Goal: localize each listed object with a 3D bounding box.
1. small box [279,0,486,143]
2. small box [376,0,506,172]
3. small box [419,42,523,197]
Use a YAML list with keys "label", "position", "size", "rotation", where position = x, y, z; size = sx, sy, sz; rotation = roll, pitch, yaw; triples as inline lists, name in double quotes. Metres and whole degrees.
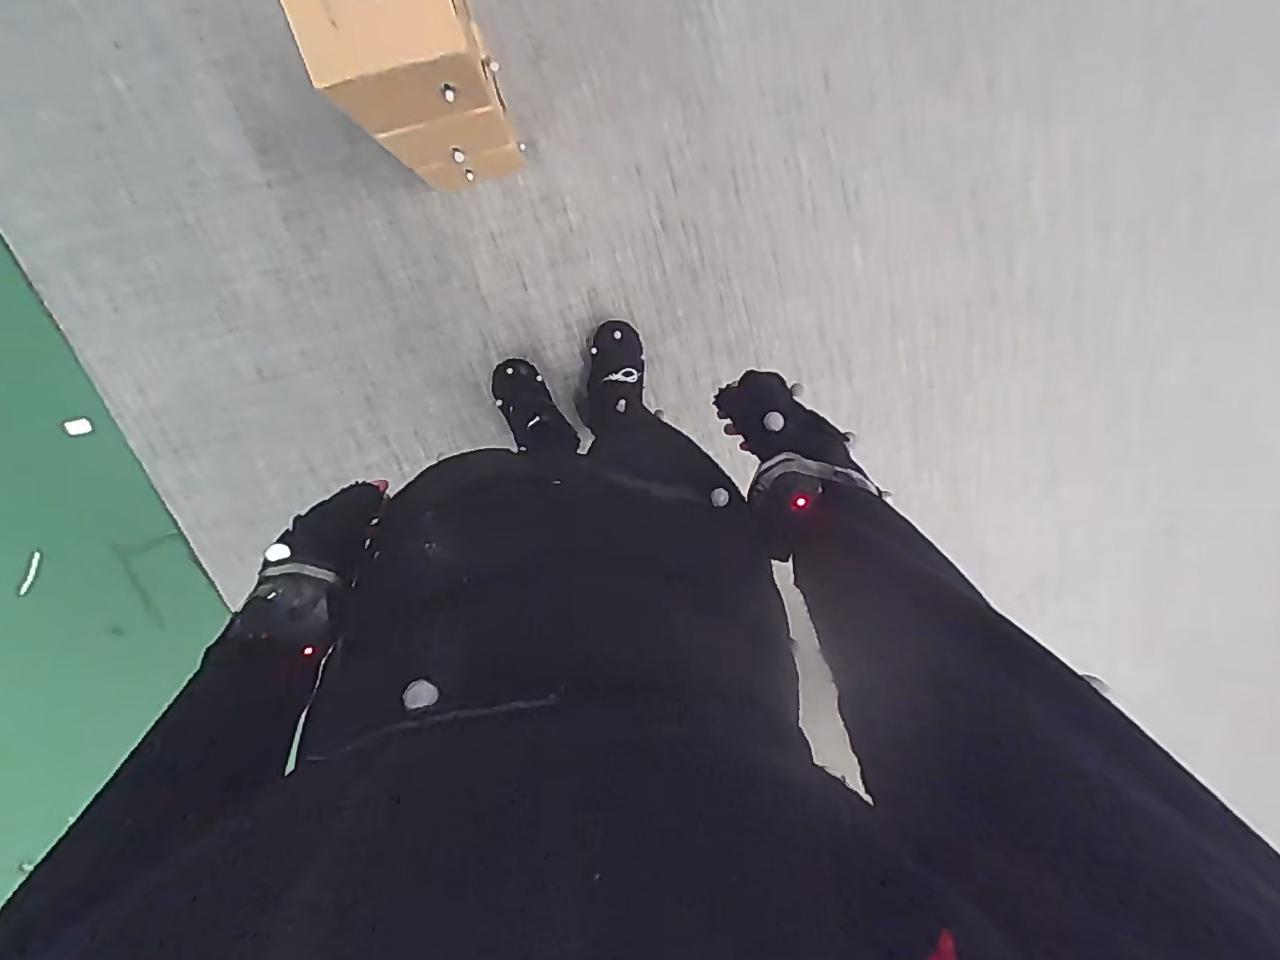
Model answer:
- label: "small box"
  position: [-0.297, -0.535, 0.647]
  size: [0.179, 0.176, 0.168]
  rotation: [-16, 108, 1]
- label: "small box"
  position: [-0.308, -0.581, 0.803]
  size: [0.179, 0.176, 0.168]
  rotation: [-15, 109, -1]
- label: "small box"
  position: [-0.316, -0.626, 0.960]
  size: [0.179, 0.176, 0.168]
  rotation: [-18, 109, -1]
